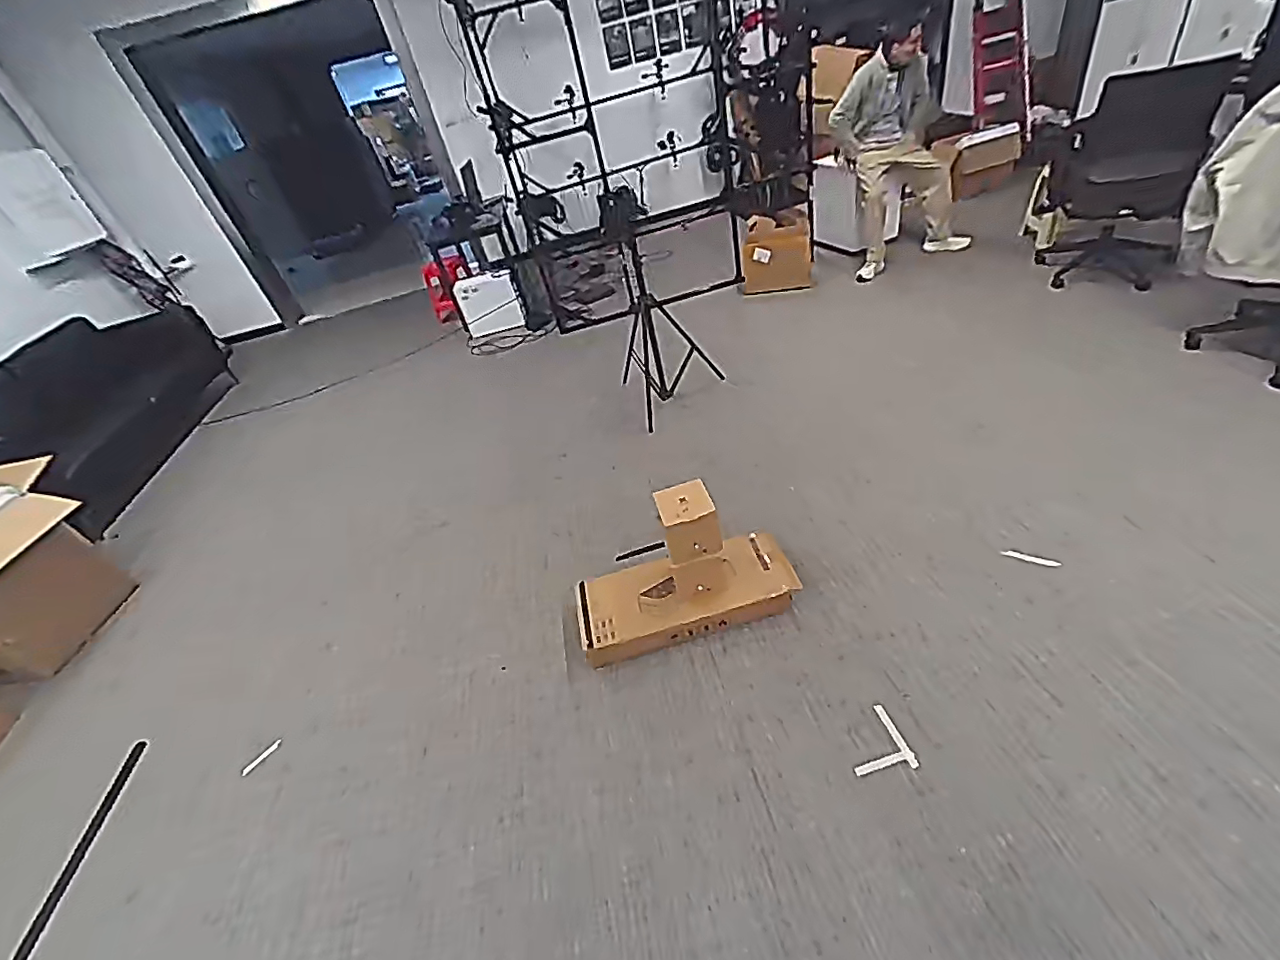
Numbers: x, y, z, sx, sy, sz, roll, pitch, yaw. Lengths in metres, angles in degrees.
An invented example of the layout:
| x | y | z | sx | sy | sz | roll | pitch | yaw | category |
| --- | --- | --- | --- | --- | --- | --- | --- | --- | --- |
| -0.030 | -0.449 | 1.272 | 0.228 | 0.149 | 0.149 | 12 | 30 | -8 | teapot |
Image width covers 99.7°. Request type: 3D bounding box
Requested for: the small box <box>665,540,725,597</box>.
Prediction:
| x | y | z | sx | sy | sz | roll | pitch | yaw | category |
| --- | --- | --- | --- | --- | --- | --- | --- | --- | --- |
| 0.182 | 0.262 | 1.815 | 0.168 | 0.176 | 0.179 | -14 | 38 | 2 | small box |

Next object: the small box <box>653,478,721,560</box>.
| x | y | z | sx | sy | sz | roll | pitch | yaw | category |
| --- | --- | --- | --- | --- | --- | --- | --- | --- | --- |
| 0.150 | 0.126 | 1.726 | 0.168 | 0.176 | 0.179 | -17 | 37 | -2 | small box |
